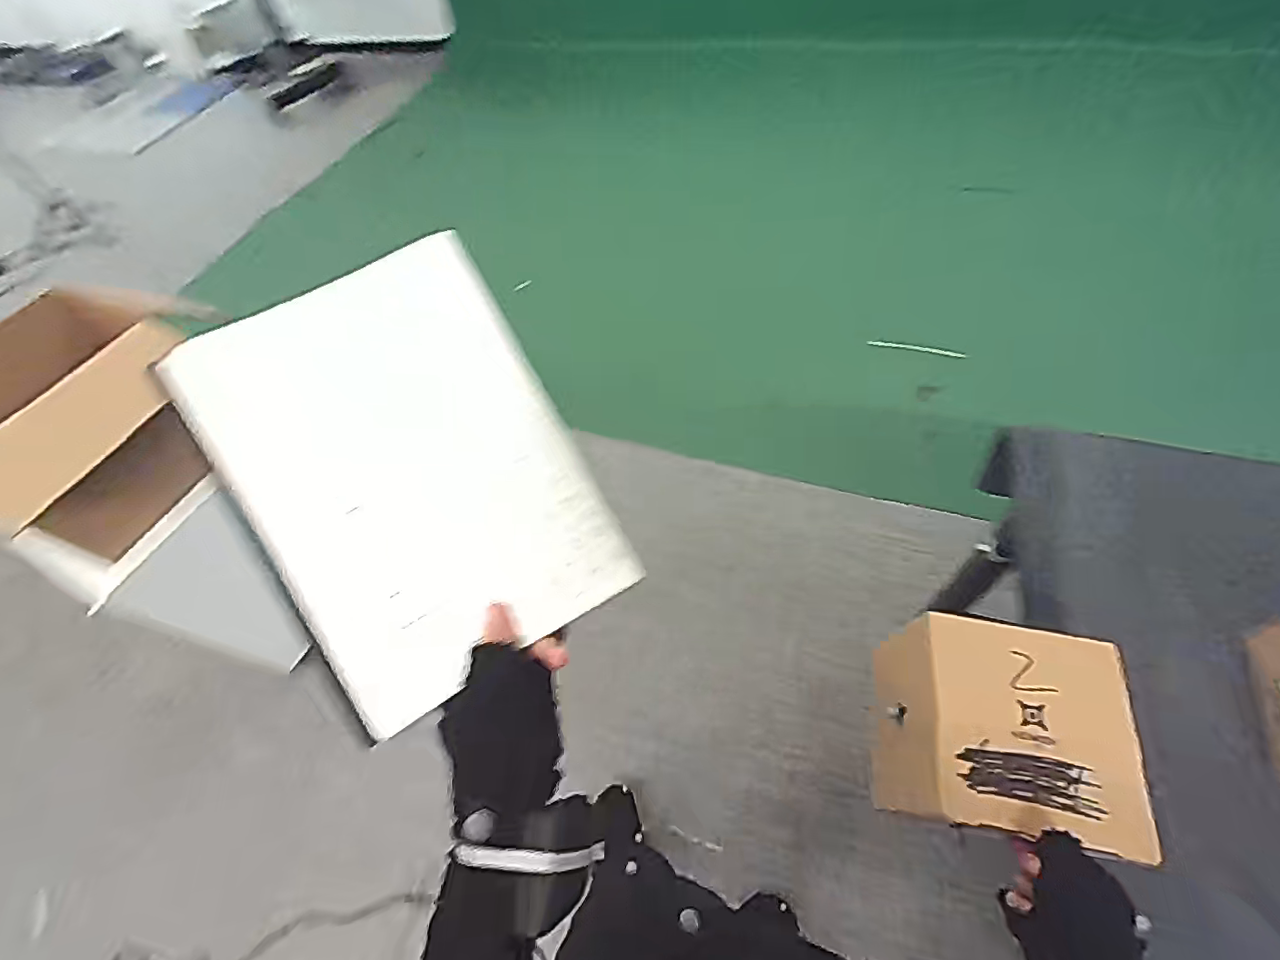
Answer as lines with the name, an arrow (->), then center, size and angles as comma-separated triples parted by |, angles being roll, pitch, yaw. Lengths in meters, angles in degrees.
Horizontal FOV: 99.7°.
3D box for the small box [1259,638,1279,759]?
small box -> 0.771, 0.226, 0.509 | 0.179, 0.176, 0.168 | 14, 59, 16
